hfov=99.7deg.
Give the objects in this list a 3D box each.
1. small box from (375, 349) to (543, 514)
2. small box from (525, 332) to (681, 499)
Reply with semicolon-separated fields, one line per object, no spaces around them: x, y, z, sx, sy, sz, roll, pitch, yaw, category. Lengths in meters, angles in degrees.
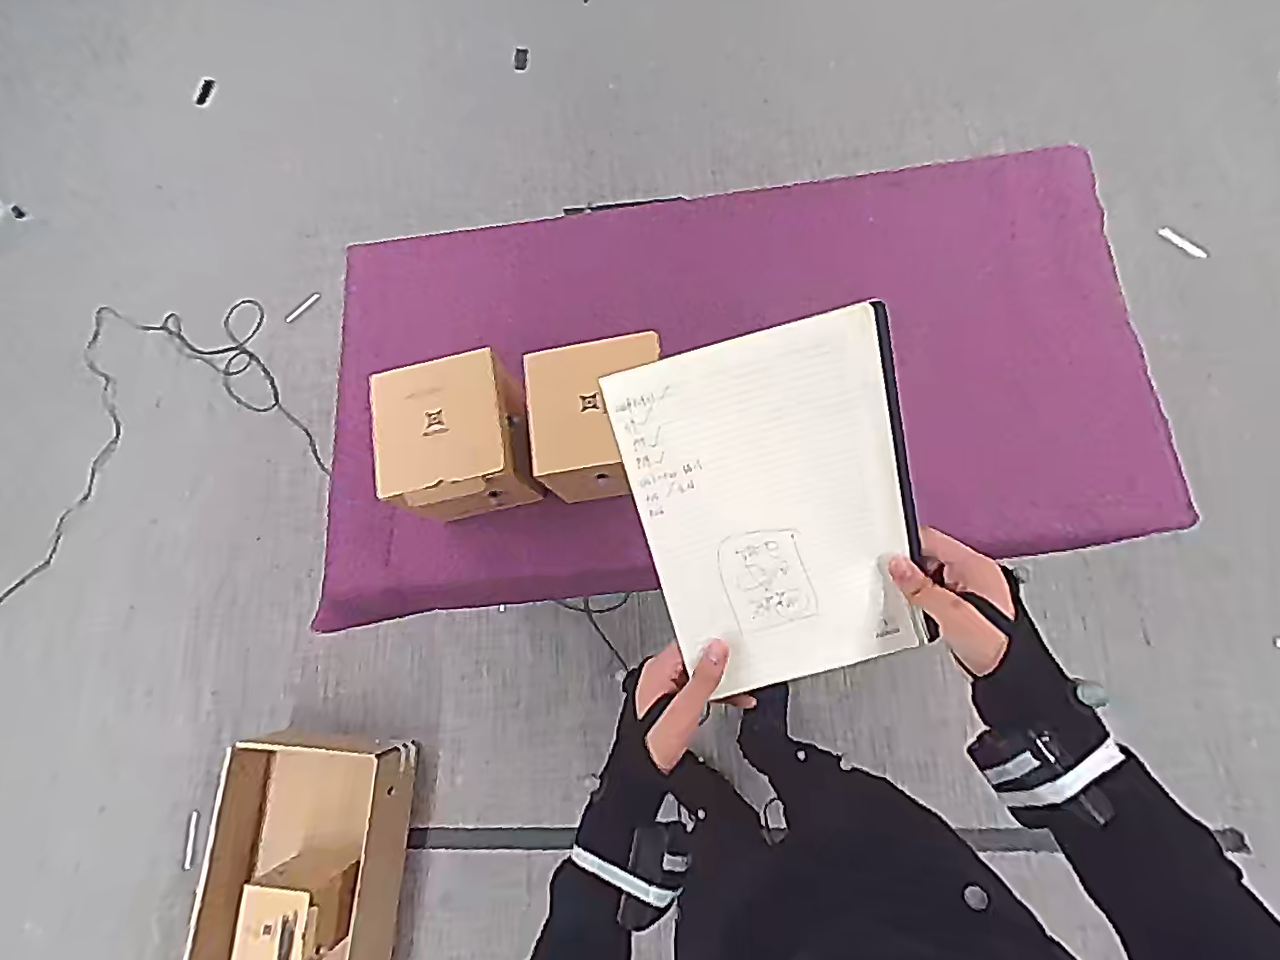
-0.246;-0.055;0.765;0.168;0.176;0.179;-12;75;3;small box
-0.043;-0.077;0.743;0.179;0.176;0.168;-9;76;5;small box
